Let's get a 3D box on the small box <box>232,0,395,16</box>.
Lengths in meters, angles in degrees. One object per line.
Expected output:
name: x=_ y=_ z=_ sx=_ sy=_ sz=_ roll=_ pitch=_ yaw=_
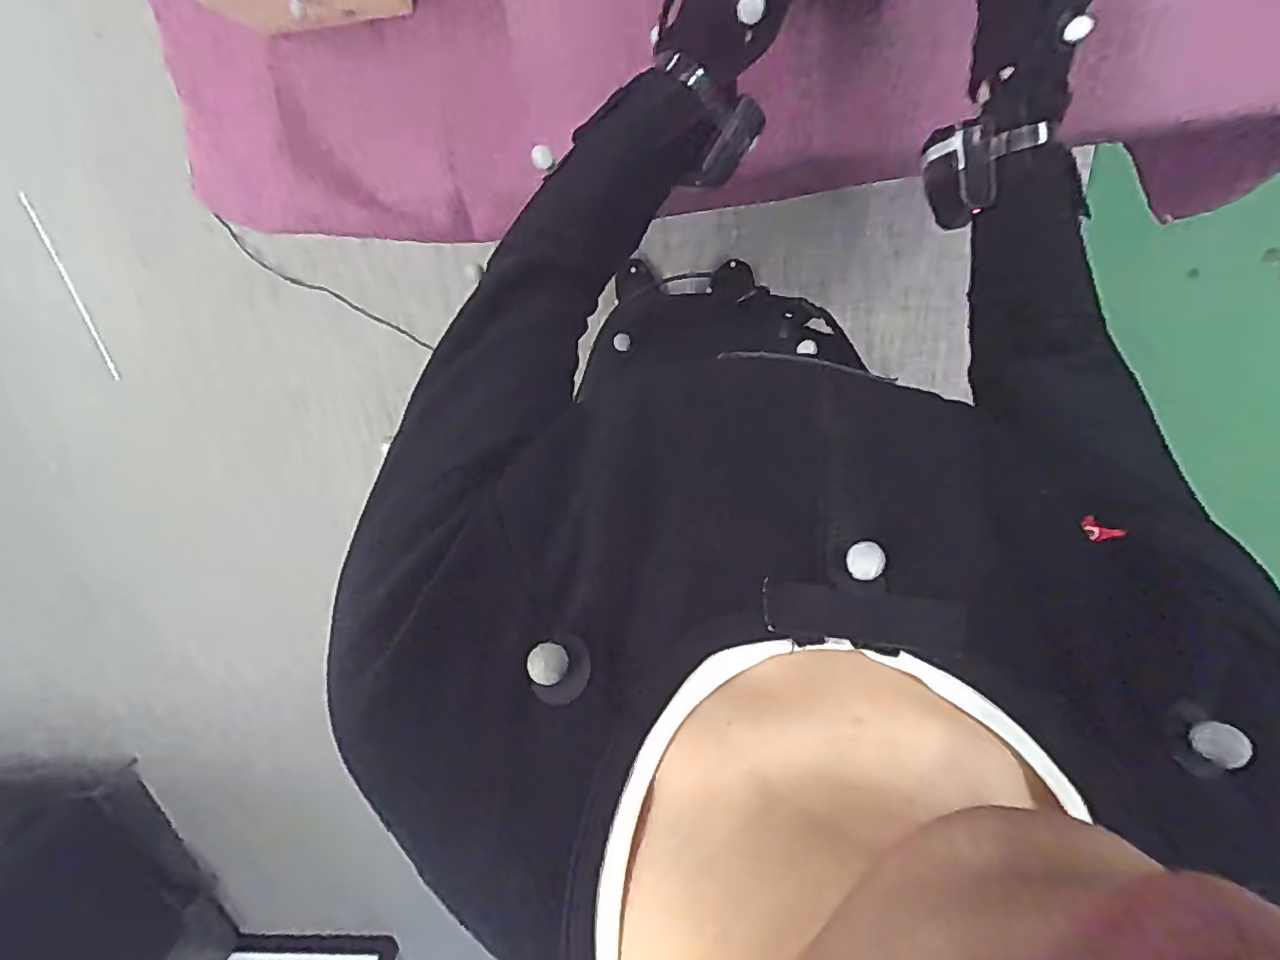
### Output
small box: x=-0.325 y=-0.524 z=0.450 sx=0.168 sy=0.176 sz=0.179 roll=-4 pitch=115 yaw=6
